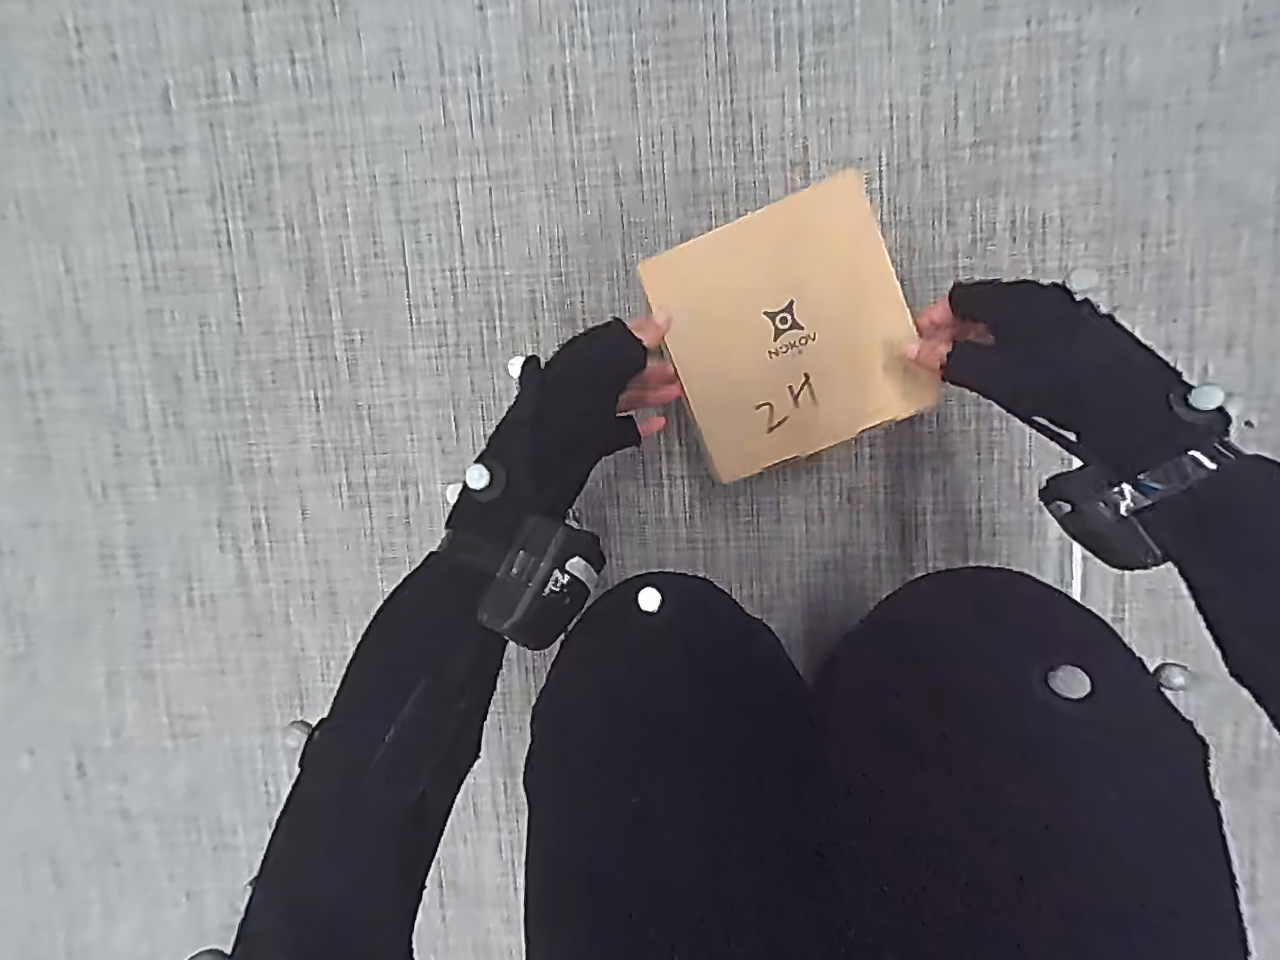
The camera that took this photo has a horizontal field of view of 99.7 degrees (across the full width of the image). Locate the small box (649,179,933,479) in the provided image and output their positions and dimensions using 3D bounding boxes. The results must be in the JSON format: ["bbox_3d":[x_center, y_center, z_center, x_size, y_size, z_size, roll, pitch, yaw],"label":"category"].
[{"bbox_3d":[0.112,-0.109,0.462,0.168,0.176,0.179,-17,93,7],"label":"small box"}]
